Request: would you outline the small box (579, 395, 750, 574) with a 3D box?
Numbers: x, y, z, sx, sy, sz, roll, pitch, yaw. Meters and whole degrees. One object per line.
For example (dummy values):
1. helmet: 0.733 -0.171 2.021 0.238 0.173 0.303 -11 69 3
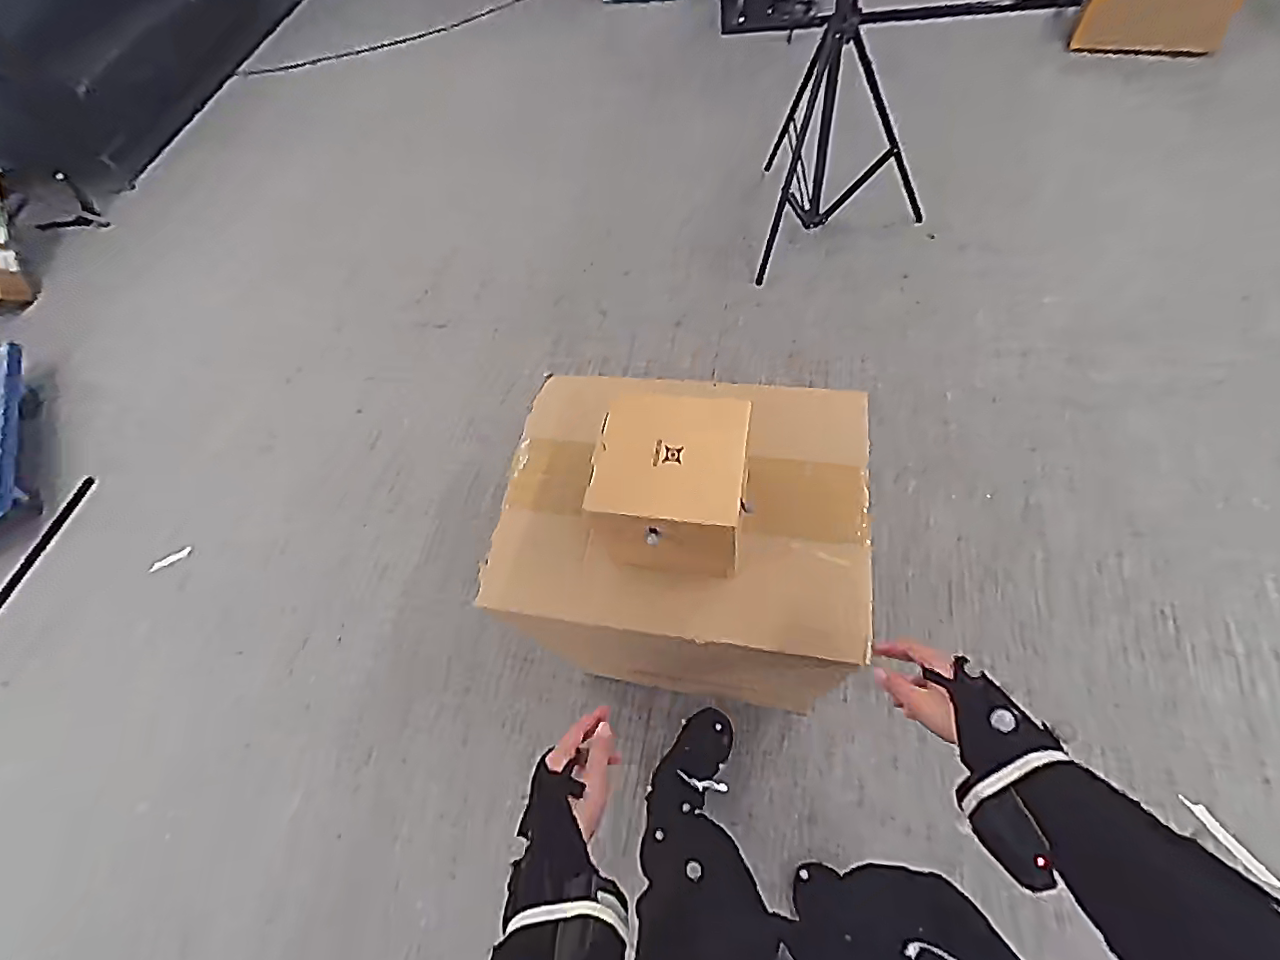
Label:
1. small box: 0.041 0.012 0.691 0.179 0.176 0.168 6 63 13
